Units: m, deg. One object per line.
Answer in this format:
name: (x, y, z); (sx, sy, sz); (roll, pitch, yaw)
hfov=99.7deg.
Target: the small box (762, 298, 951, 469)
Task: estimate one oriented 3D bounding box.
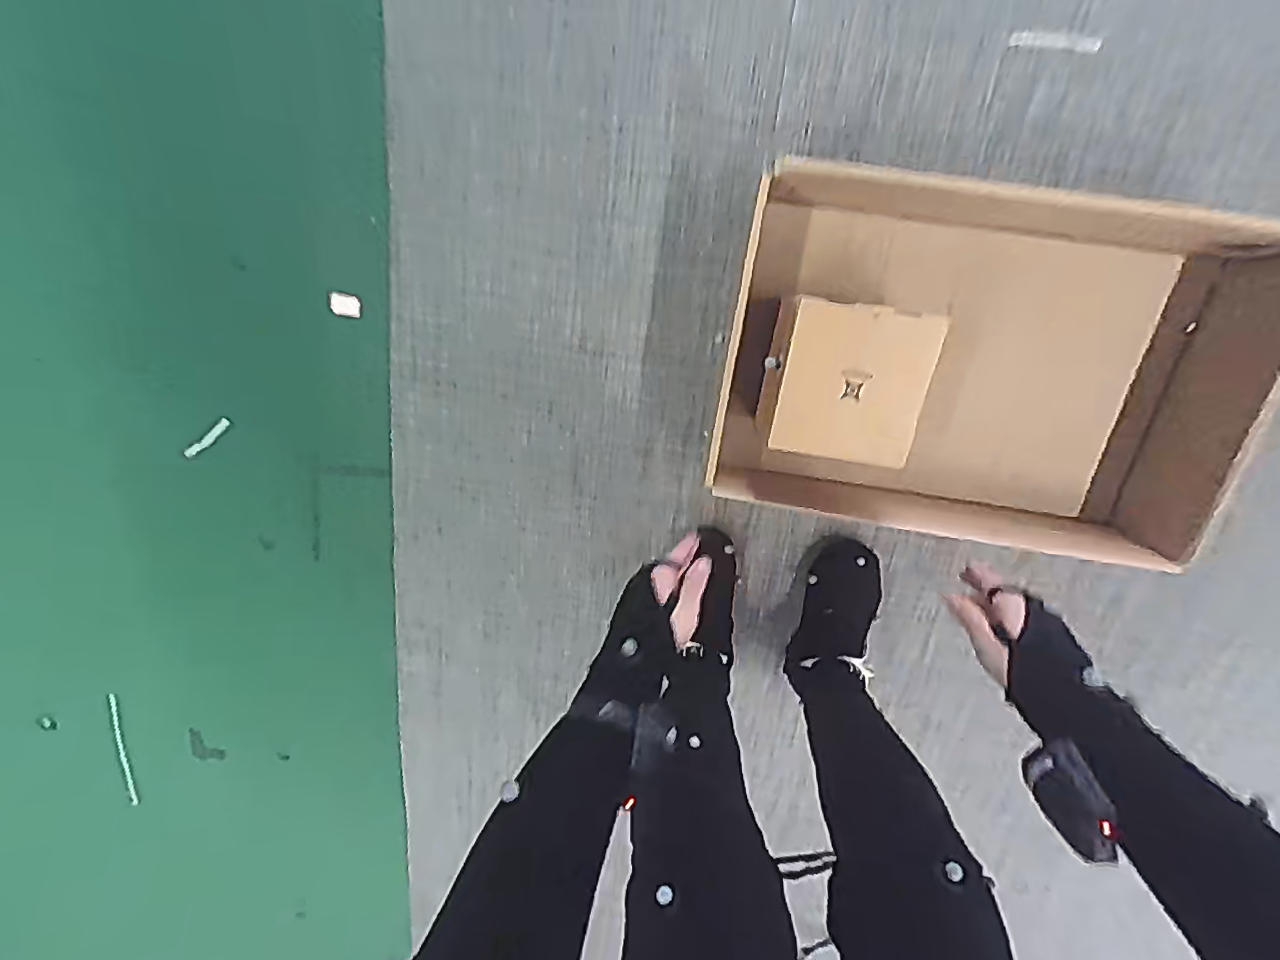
small box: (0.257, -0.130, 0.695); (0.168, 0.176, 0.179); (9, 107, 3)
